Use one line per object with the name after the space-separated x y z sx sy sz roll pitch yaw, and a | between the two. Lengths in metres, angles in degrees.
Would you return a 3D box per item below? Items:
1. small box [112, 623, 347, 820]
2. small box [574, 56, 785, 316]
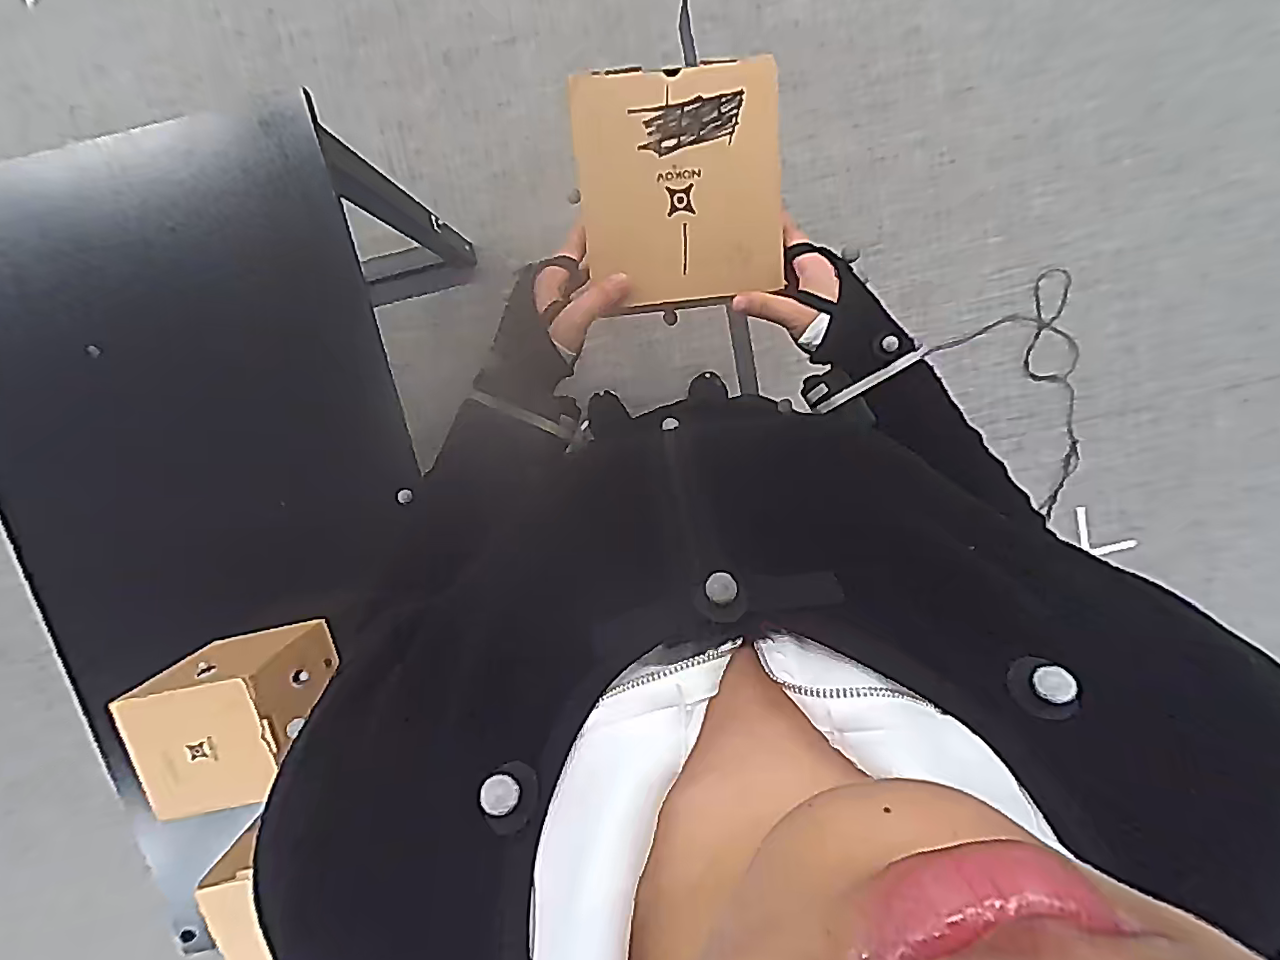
-0.531 0.313 0.734 0.179 0.176 0.168 -13 99 3 | small box
0.031 -0.257 0.515 0.168 0.176 0.179 -6 105 -1 | small box
